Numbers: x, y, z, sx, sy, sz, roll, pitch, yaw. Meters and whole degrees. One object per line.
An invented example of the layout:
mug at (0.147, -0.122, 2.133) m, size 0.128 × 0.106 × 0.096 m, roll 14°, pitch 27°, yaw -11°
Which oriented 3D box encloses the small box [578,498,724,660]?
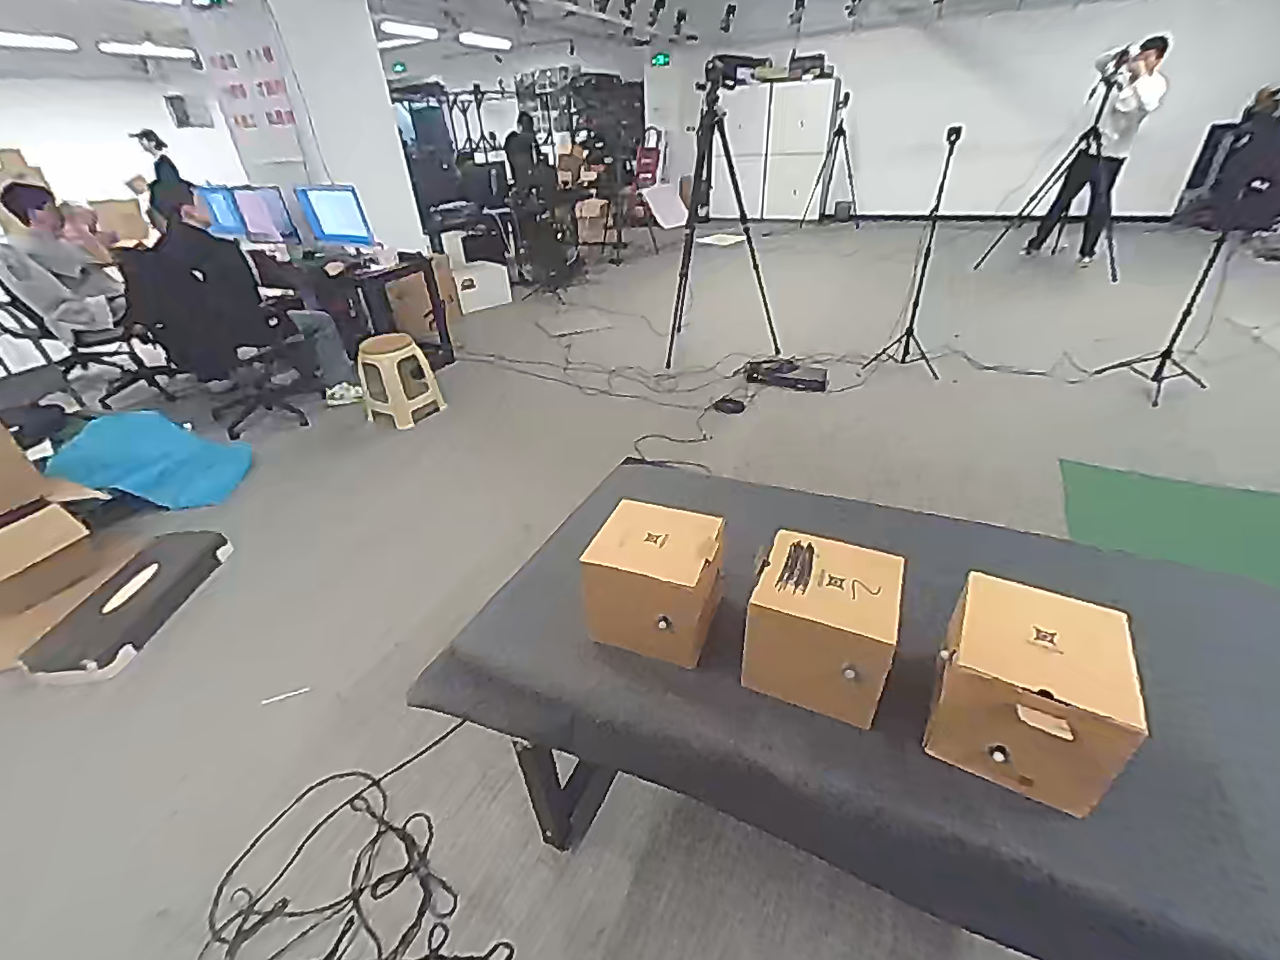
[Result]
small box at (0.025, 0.153, 0.843) m, size 0.179 × 0.176 × 0.168 m, roll 9°, pitch 34°, yaw 19°

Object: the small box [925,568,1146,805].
small box at (0.466, 0.245, 0.662) m, size 0.168 × 0.176 × 0.179 m, roll 16°, pitch 38°, yaw 26°
